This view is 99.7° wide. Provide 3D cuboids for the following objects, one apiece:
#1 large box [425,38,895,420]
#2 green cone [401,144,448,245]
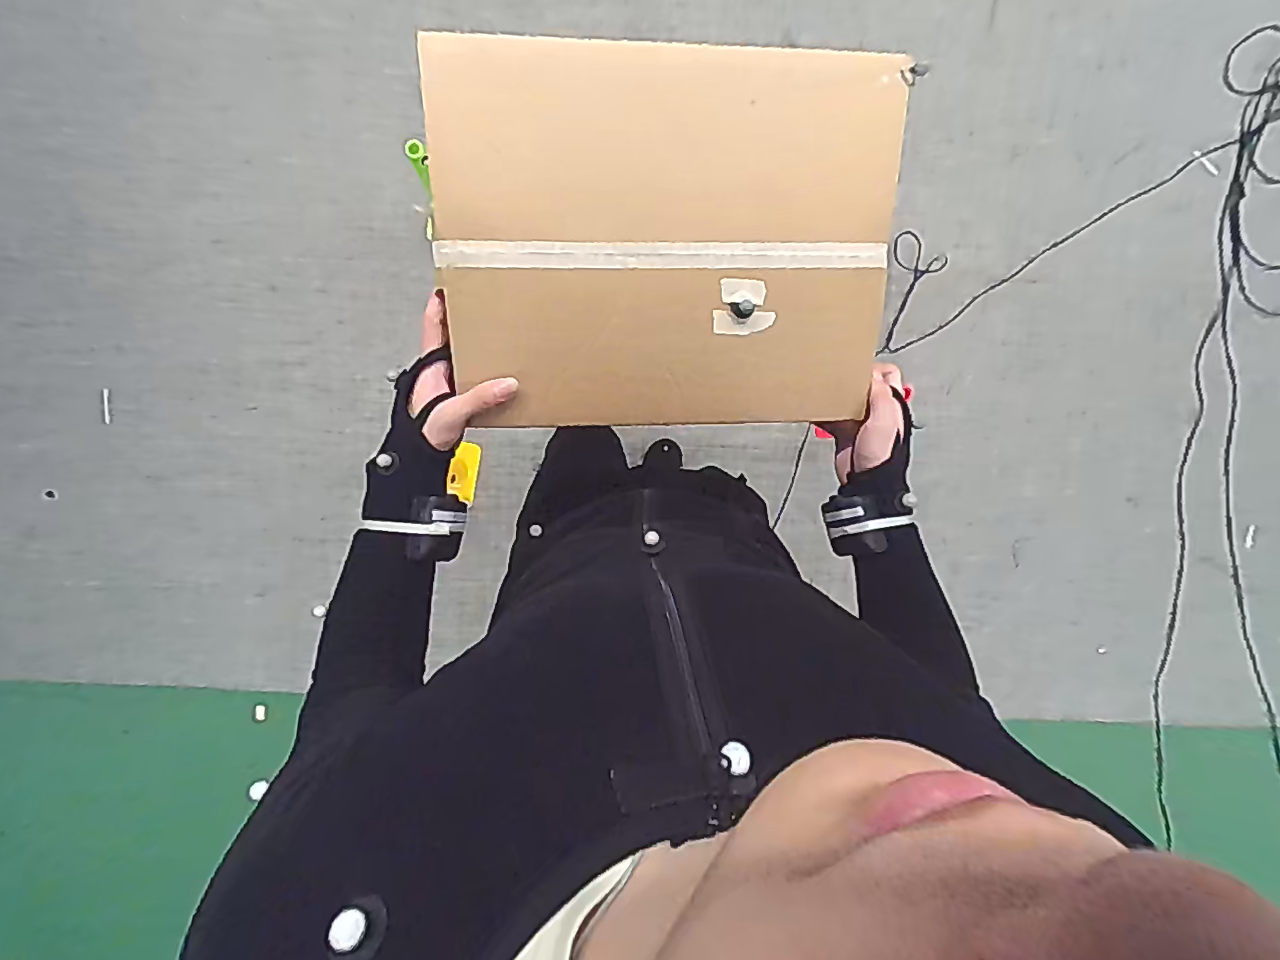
[{"bbox_3d":[0.009,-0.260,0.634,0.408,0.320,0.320,-2,109,-6],"label":"large box"},{"bbox_3d":[-0.508,-0.745,1.361,0.200,0.368,0.202,8,97,0],"label":"green cone"}]
